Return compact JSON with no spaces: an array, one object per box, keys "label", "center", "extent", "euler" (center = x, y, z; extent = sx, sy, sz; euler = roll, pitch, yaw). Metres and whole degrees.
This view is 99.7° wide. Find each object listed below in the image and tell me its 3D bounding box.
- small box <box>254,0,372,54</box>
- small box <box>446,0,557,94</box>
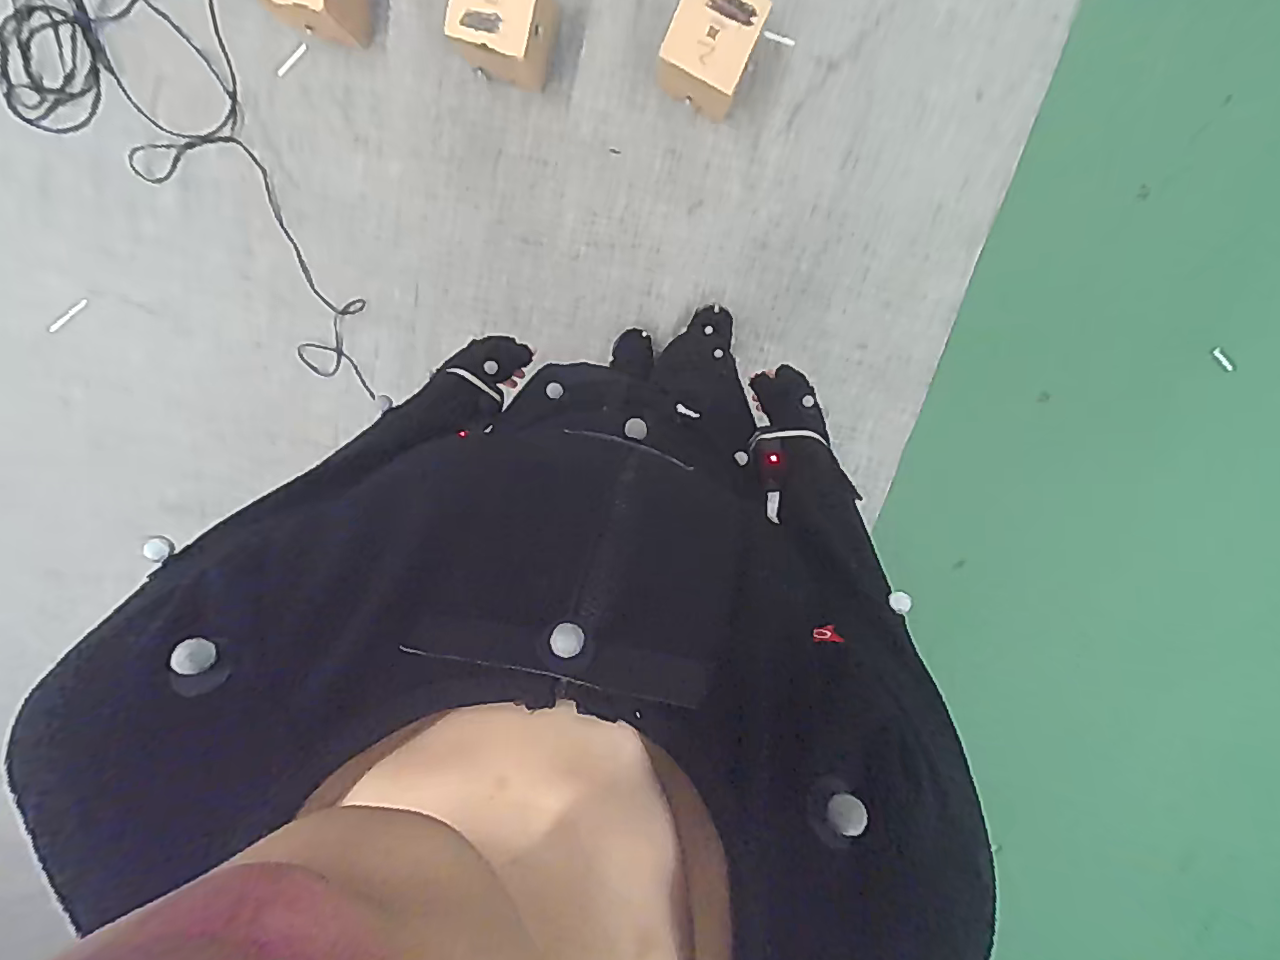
[{"label":"small box","center":[-0.675,-1.033,1.115],"extent":[0.168,0.176,0.179],"euler":[12,107,-2]},{"label":"small box","center":[-0.281,-0.950,1.128],"extent":[0.168,0.176,0.179],"euler":[17,106,-3]}]
